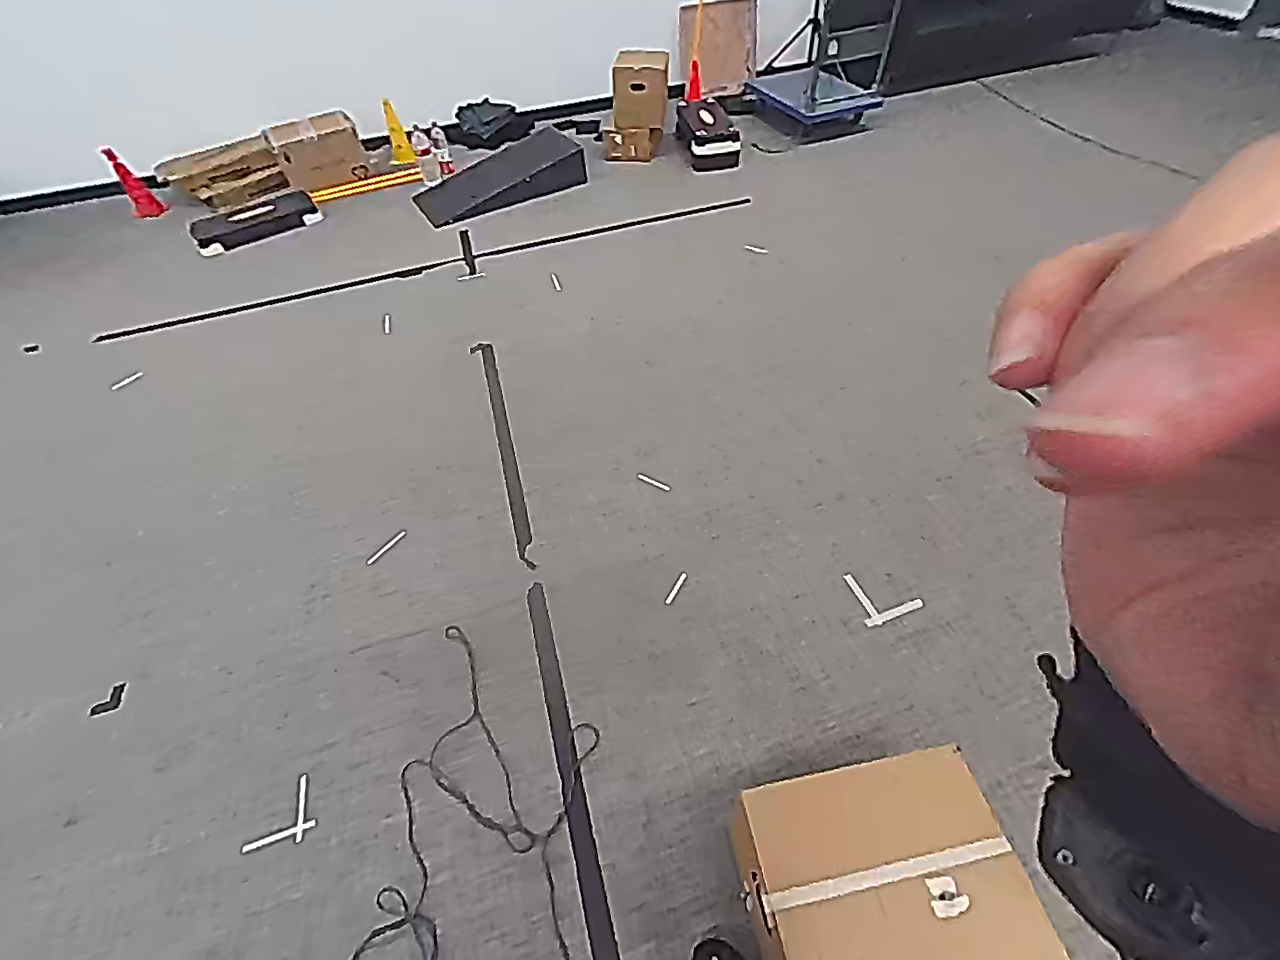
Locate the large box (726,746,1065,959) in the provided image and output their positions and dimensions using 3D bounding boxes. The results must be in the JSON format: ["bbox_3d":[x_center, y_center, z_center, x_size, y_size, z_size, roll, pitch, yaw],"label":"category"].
[{"bbox_3d":[0.401,0.726,0.968,0.408,0.320,0.320,-10,50,-6],"label":"large box"}]
